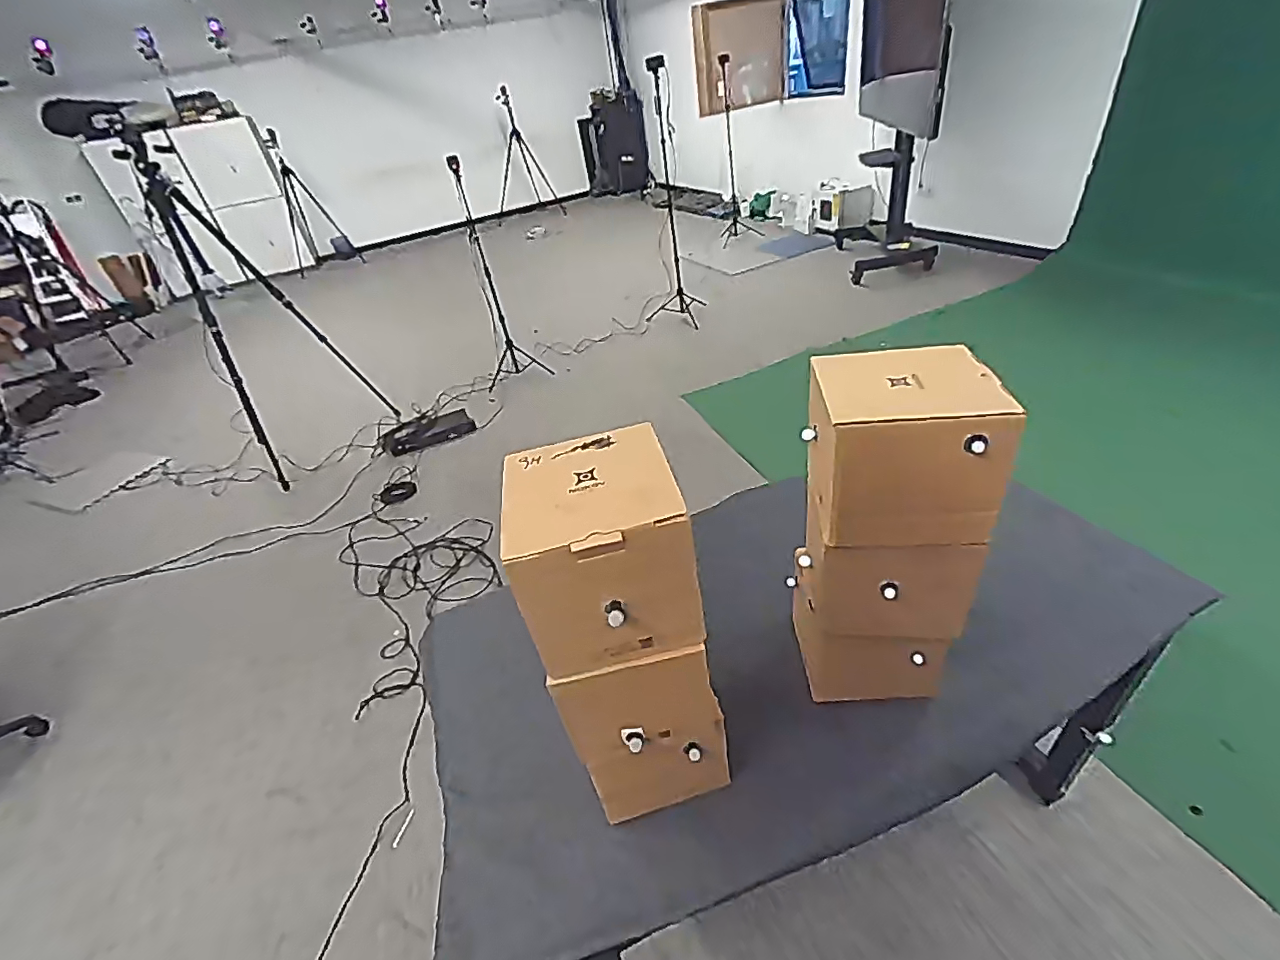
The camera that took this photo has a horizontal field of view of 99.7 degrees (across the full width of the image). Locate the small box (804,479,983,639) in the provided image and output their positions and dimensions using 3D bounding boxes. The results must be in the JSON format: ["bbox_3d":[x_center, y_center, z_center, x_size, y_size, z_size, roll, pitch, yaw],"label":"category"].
[{"bbox_3d":[0.316,0.094,0.718,0.179,0.176,0.168,-2,36,12],"label":"small box"}]

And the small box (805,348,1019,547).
[{"bbox_3d":[0.289,-0.036,0.623,0.179,0.176,0.168,-3,36,10],"label":"small box"}]

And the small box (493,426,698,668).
[{"bbox_3d":[-0.043,0.073,0.564,0.168,0.176,0.179,-14,36,-2],"label":"small box"}]

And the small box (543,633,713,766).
[{"bbox_3d":[-0.016,0.207,0.655,0.168,0.176,0.179,-14,36,-2],"label":"small box"}]

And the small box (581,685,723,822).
[{"bbox_3d":[0.009,0.334,0.752,0.179,0.176,0.168,-16,35,-6],"label":"small box"}]
